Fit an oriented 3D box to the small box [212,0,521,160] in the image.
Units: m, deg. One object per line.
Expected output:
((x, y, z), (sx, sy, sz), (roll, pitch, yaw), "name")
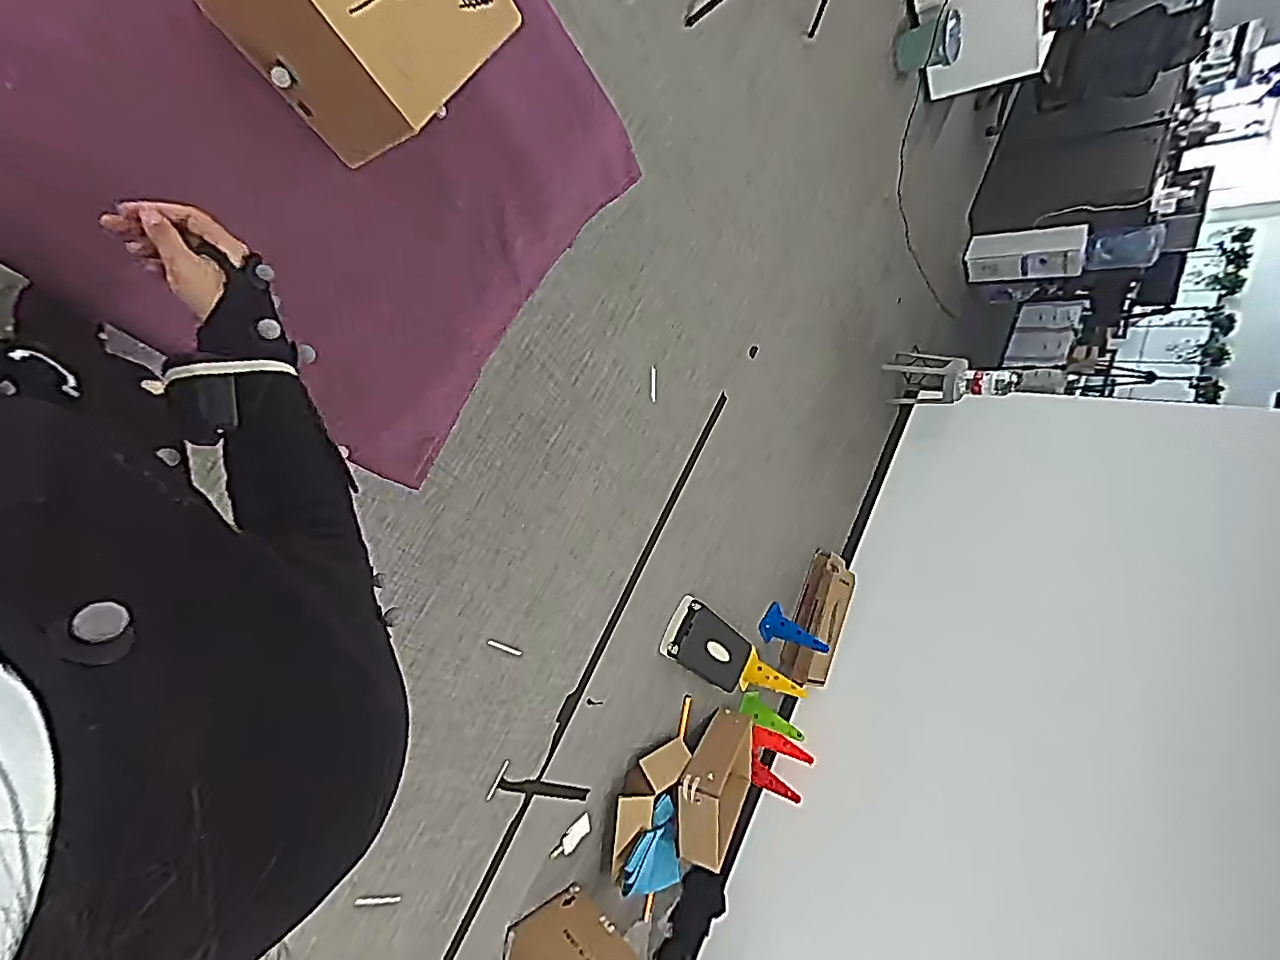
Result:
((-0.254, -0.440, 0.506), (0.179, 0.176, 0.168), (-59, 136, -17), "small box")
